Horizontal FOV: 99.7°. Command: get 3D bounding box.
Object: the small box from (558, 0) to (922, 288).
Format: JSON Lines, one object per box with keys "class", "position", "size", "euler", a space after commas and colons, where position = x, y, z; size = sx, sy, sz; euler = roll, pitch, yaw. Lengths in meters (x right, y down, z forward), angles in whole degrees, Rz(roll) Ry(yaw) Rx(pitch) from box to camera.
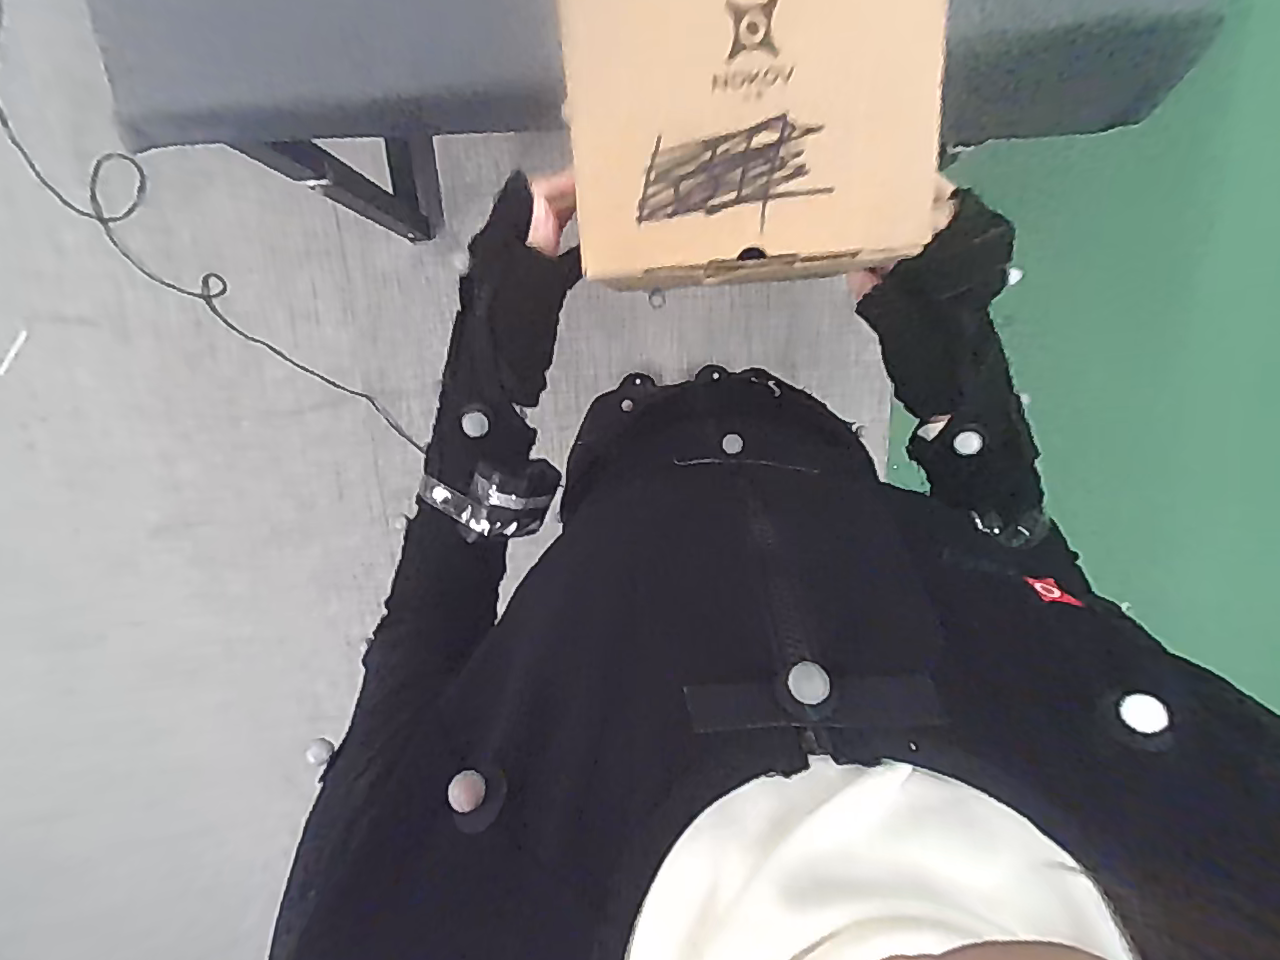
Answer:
{"class": "small box", "position": [0.049, -0.213, 0.328], "size": [0.168, 0.176, 0.179], "euler": [-2, 105, 4]}
